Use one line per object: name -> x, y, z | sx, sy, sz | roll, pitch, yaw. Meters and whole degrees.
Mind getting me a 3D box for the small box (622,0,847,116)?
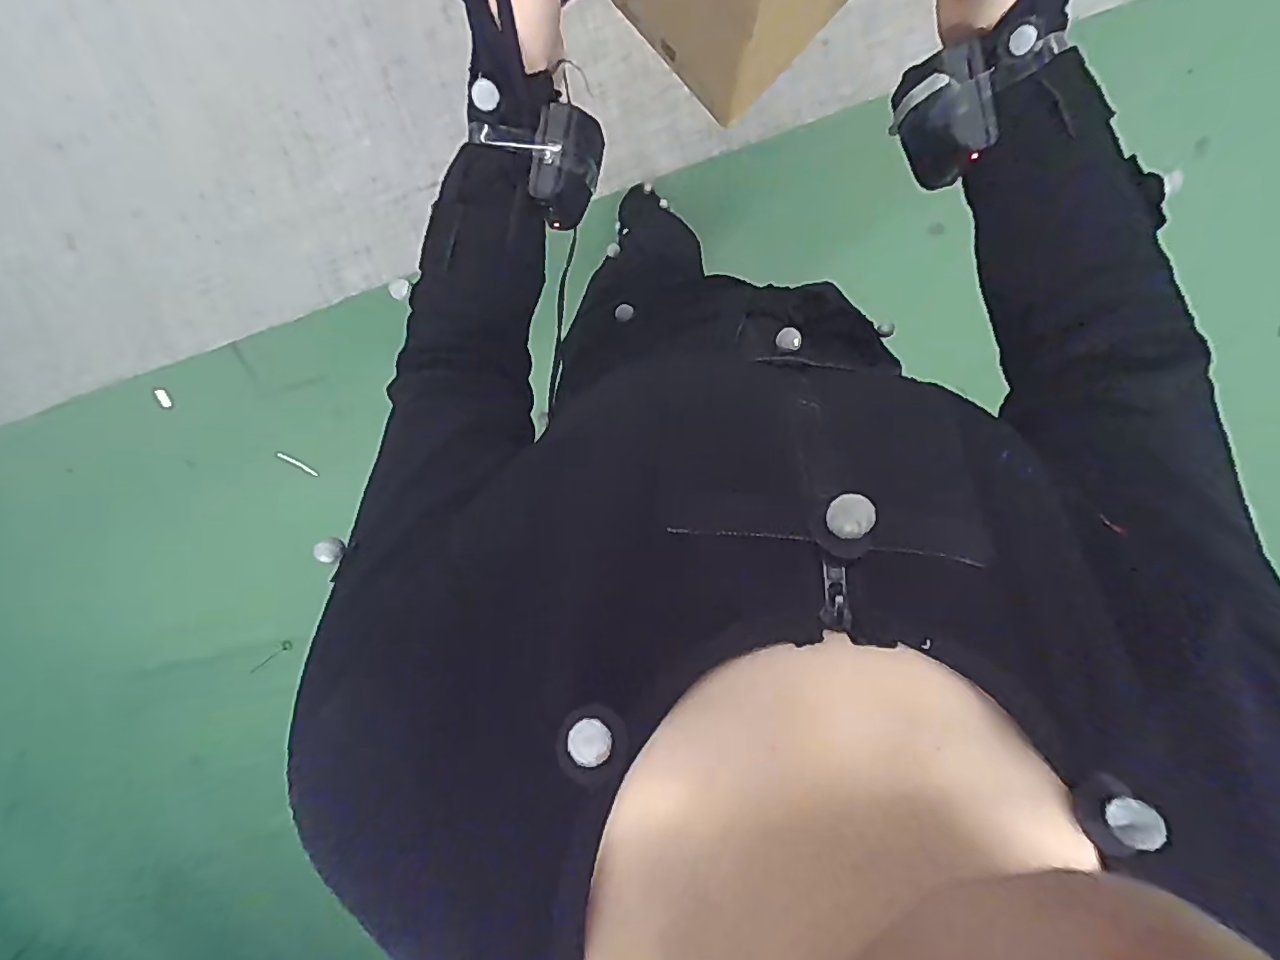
small box -> 0.062, -0.353, 0.294 | 0.168, 0.176, 0.179 | 45, 101, -6
